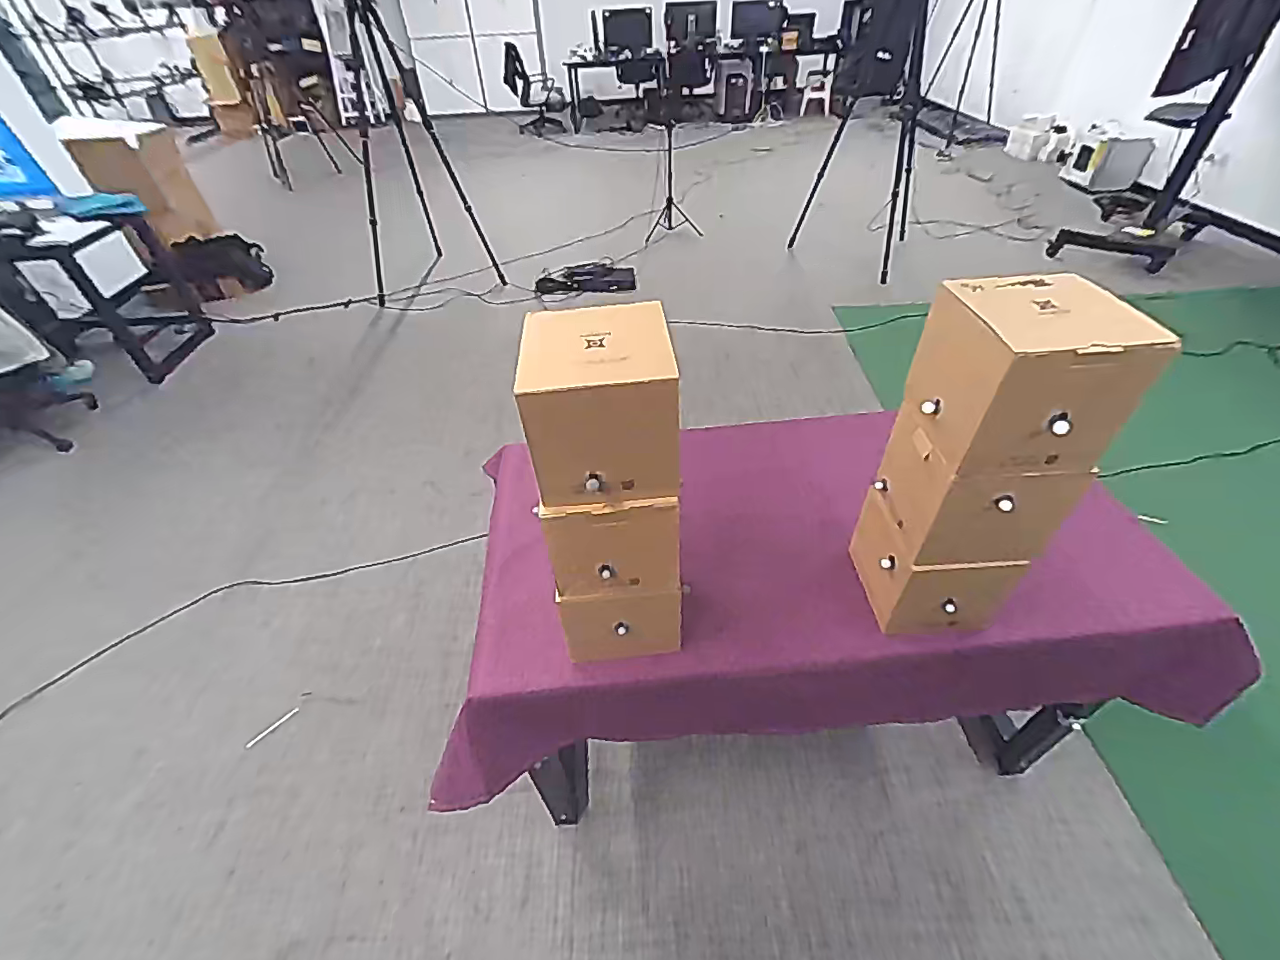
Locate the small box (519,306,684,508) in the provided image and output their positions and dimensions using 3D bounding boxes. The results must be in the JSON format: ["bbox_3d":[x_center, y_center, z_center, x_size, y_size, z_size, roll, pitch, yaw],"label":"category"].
[{"bbox_3d":[-0.040,-0.087,0.646,0.168,0.176,0.179,-5,44,-1],"label":"small box"}]

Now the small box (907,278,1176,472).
[{"bbox_3d":[0.452,-0.121,0.649,0.168,0.176,0.179,-3,44,0],"label":"small box"}]

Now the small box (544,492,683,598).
[{"bbox_3d":[-0.035,0.039,0.749,0.168,0.176,0.179,-5,44,-2],"label":"small box"}]

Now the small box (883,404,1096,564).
[{"bbox_3d":[0.461,0.004,0.756,0.179,0.176,0.168,-2,43,0],"label":"small box"}]

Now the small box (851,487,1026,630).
[{"bbox_3d":[0.460,0.127,0.866,0.168,0.176,0.179,-3,43,0],"label":"small box"}]
